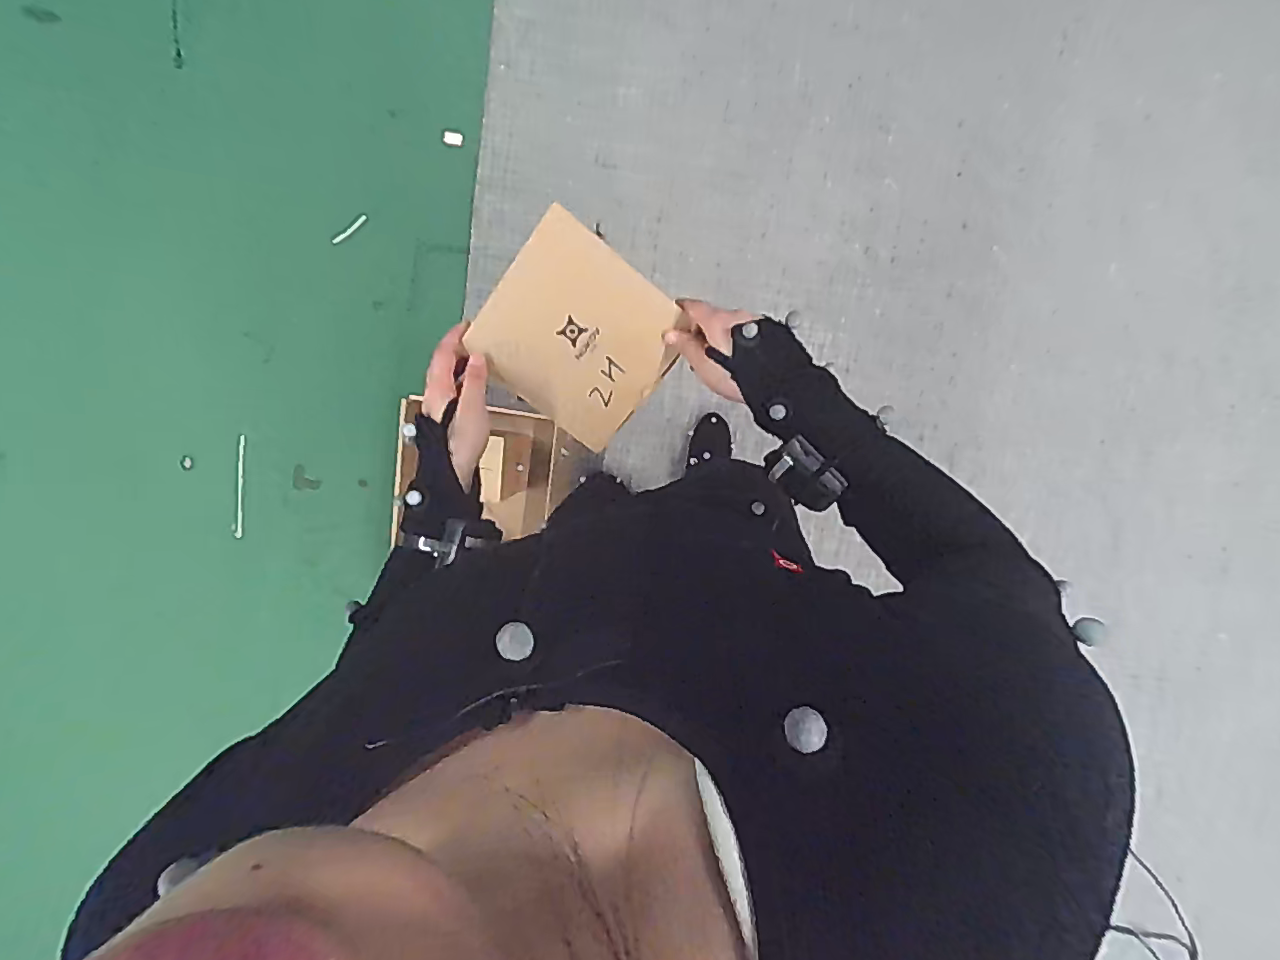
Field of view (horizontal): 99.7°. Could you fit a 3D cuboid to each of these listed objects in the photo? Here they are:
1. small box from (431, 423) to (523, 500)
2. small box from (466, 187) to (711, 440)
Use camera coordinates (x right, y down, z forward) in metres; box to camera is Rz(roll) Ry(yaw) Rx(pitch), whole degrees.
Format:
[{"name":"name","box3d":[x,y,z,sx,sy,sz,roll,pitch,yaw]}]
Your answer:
[{"name":"small box","box3d":[-0.412,-0.053,1.383,0.179,0.176,0.168,7,100,2]},{"name":"small box","box3d":[-0.051,-0.176,0.583,0.179,0.176,0.168,37,108,-15]}]
